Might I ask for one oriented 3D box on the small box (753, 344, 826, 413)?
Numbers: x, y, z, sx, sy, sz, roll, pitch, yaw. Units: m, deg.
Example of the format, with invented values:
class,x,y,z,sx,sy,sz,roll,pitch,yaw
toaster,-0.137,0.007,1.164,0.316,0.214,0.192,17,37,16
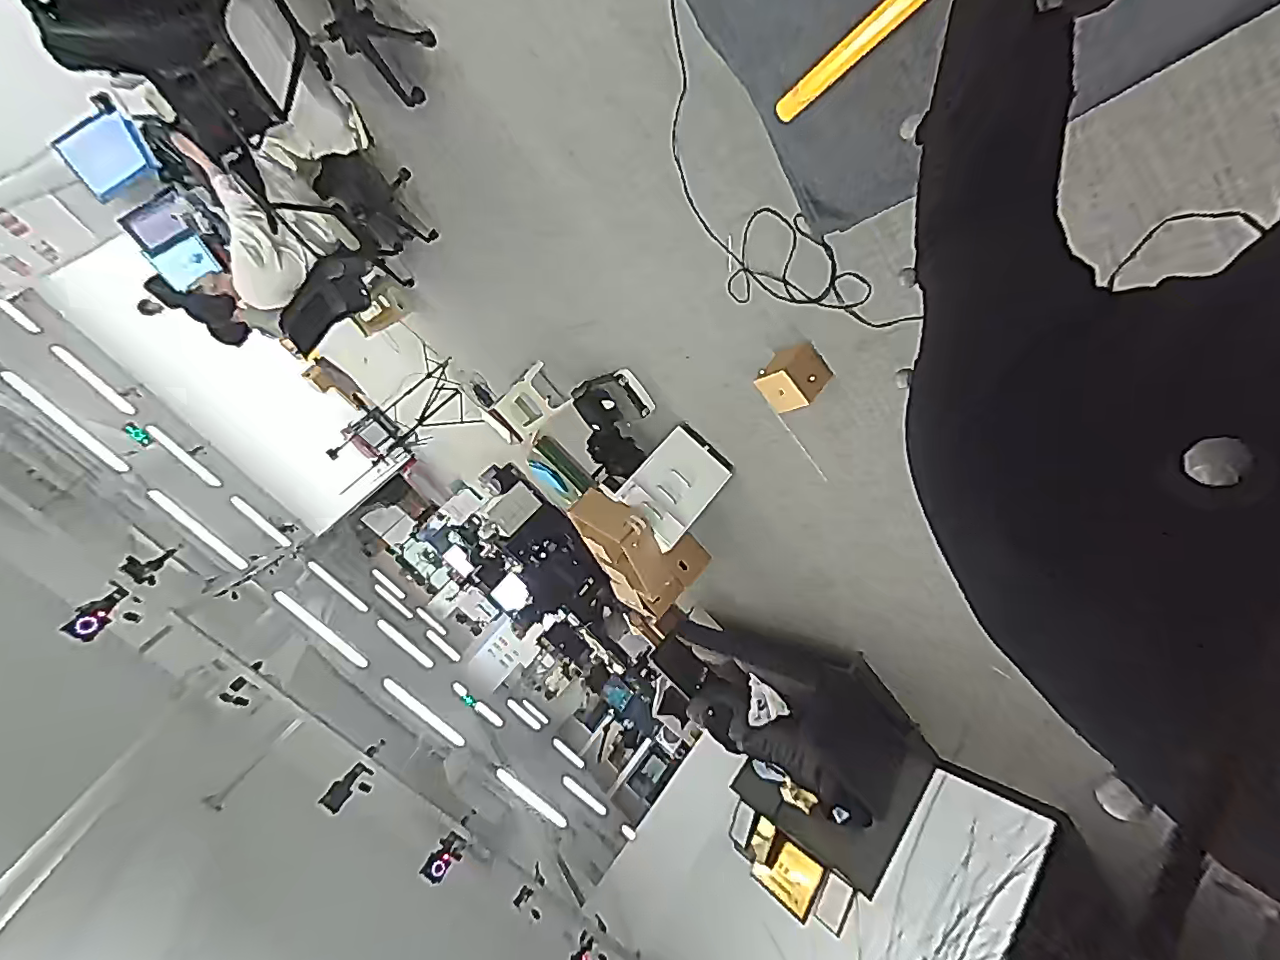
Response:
class,x,y,z,sx,sy,sz,roll,pitch,yaw
small box,0.561,-0.376,2.005,0.168,0.176,0.179,47,159,-14
